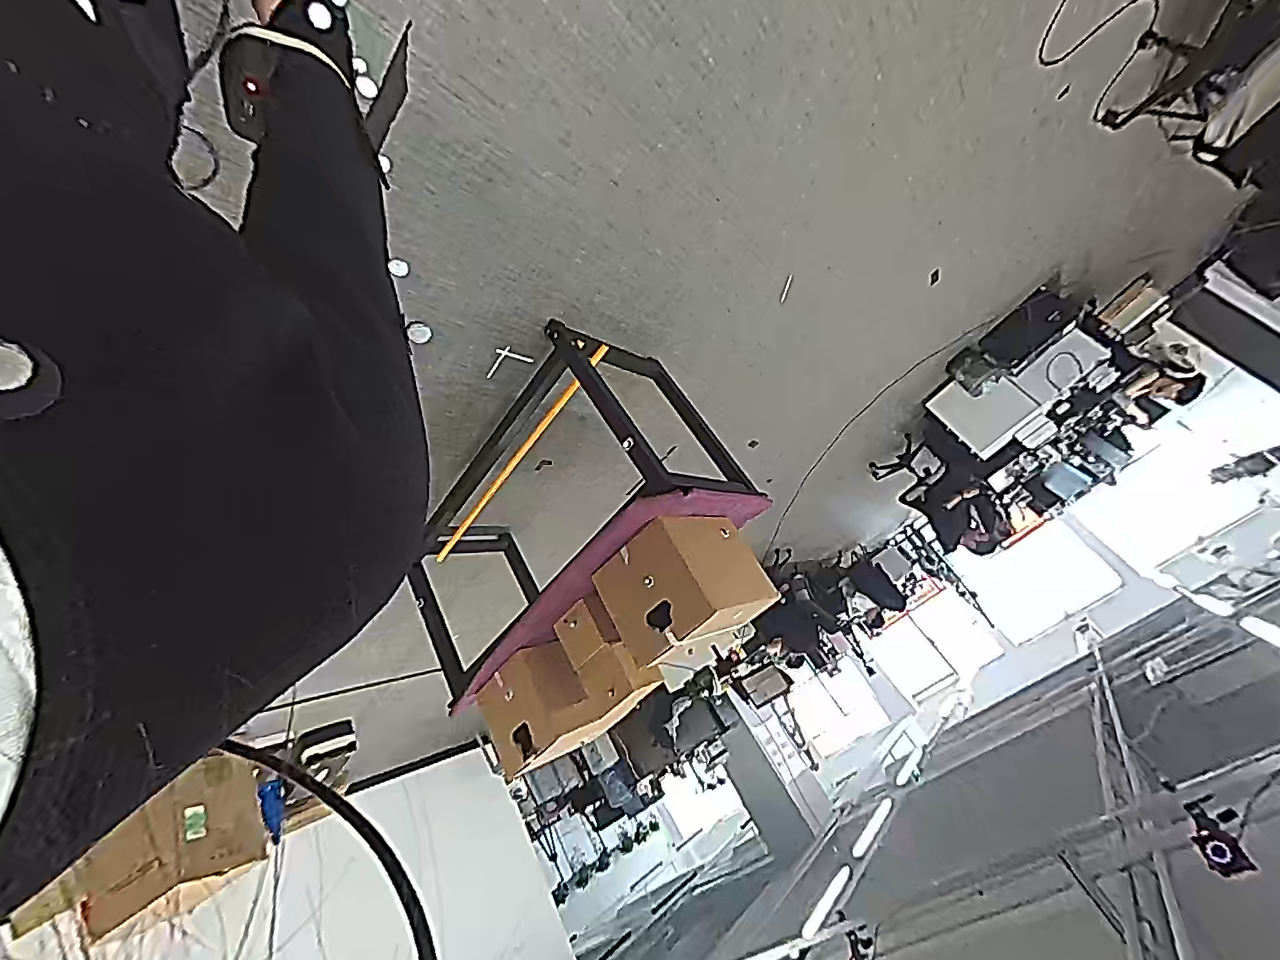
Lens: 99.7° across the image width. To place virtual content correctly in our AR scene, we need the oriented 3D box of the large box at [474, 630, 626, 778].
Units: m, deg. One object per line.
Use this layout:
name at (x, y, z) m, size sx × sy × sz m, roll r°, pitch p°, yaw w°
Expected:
large box at (-0.303, 0.774, 1.925) m, size 0.320 × 0.320 × 0.408 m, roll -46°, pitch 152°, yaw 25°

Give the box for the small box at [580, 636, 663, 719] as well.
small box at (-0.066, 0.620, 1.713) m, size 0.179 × 0.176 × 0.168 m, roll -47°, pitch 151°, yaw 23°
